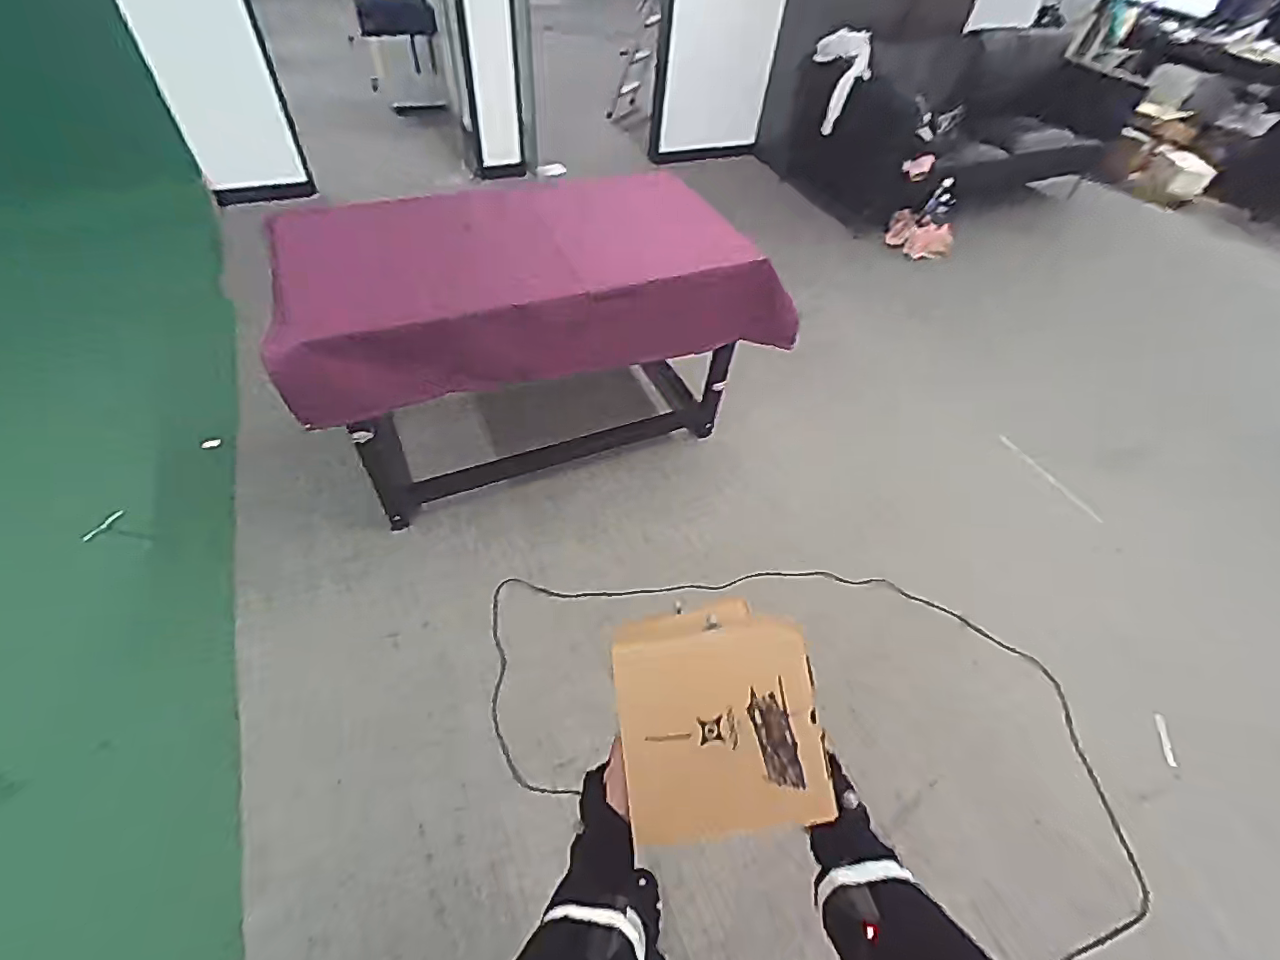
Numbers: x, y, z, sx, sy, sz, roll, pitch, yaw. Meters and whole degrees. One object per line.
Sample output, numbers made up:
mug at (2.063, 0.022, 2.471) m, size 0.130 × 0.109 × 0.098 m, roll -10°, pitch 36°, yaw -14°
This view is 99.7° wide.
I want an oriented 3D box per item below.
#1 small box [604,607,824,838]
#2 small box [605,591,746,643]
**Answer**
small box at (0.062, 0.226, 0.551) m, size 0.179 × 0.176 × 0.168 m, roll -8°, pitch 79°, yaw -1°
small box at (0.057, 0.246, 0.715) m, size 0.179 × 0.176 × 0.168 m, roll -14°, pitch 80°, yaw -3°
